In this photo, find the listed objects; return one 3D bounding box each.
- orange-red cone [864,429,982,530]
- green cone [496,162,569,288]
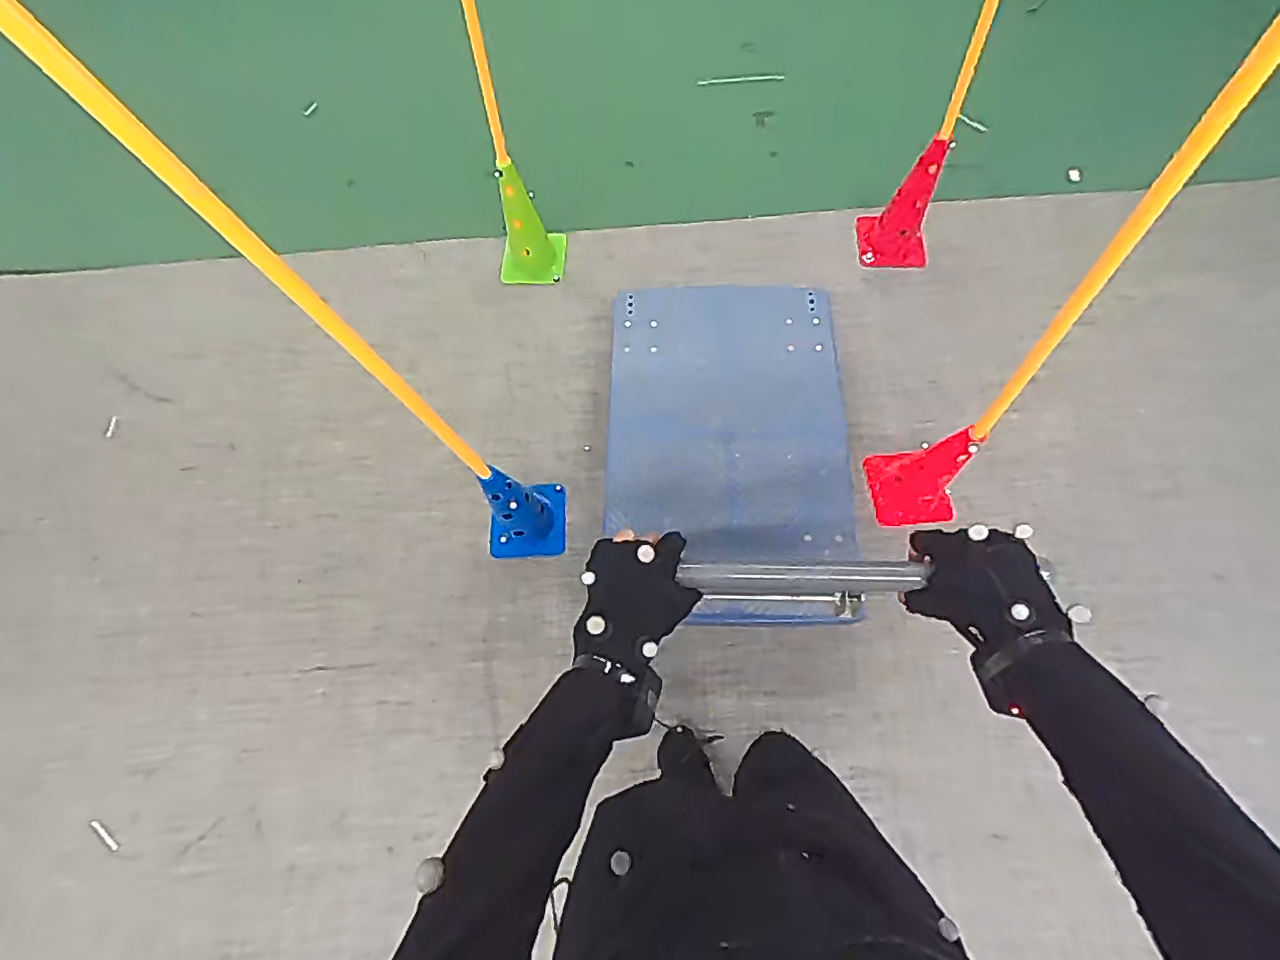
[{"bbox_3d":[0.696,-0.027,1.276,0.199,0.360,0.198,-4,69,3],"label":"orange-red cone"},{"bbox_3d":[-0.345,-0.769,1.601,0.202,0.368,0.200,1,69,4],"label":"green cone"}]
